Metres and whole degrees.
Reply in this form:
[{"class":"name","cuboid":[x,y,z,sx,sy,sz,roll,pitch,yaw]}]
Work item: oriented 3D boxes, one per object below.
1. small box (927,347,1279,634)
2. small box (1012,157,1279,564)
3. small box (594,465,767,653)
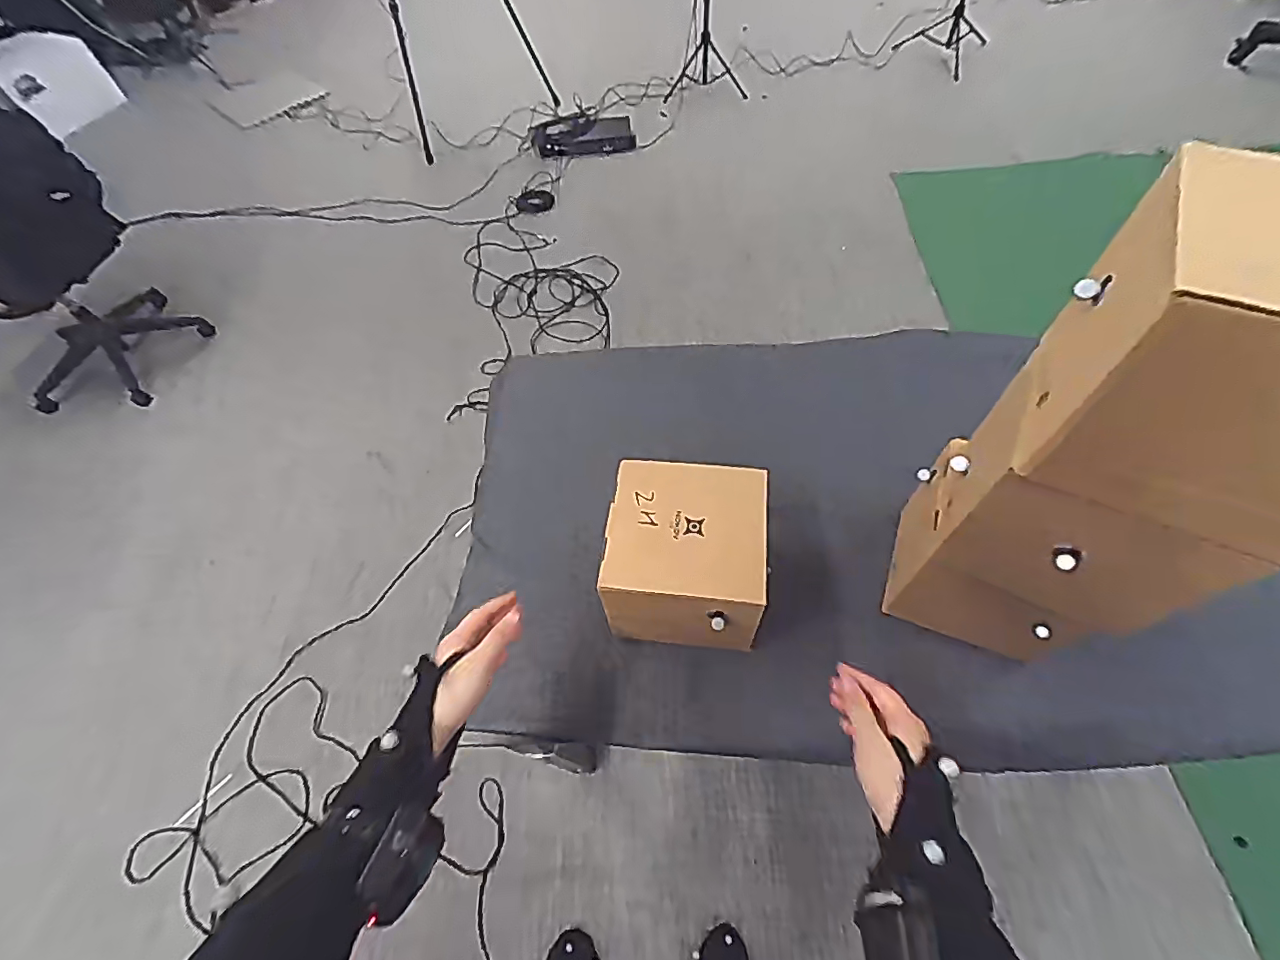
[{"class":"small box","cuboid":[0.395,0.017,0.485,0.179,0.176,0.168,25,62,20]},{"class":"small box","cuboid":[0.381,-0.071,0.350,0.179,0.176,0.168,23,61,18]},{"class":"small box","cuboid":[0.054,0.102,0.658,0.179,0.176,0.168,4,57,8]}]
